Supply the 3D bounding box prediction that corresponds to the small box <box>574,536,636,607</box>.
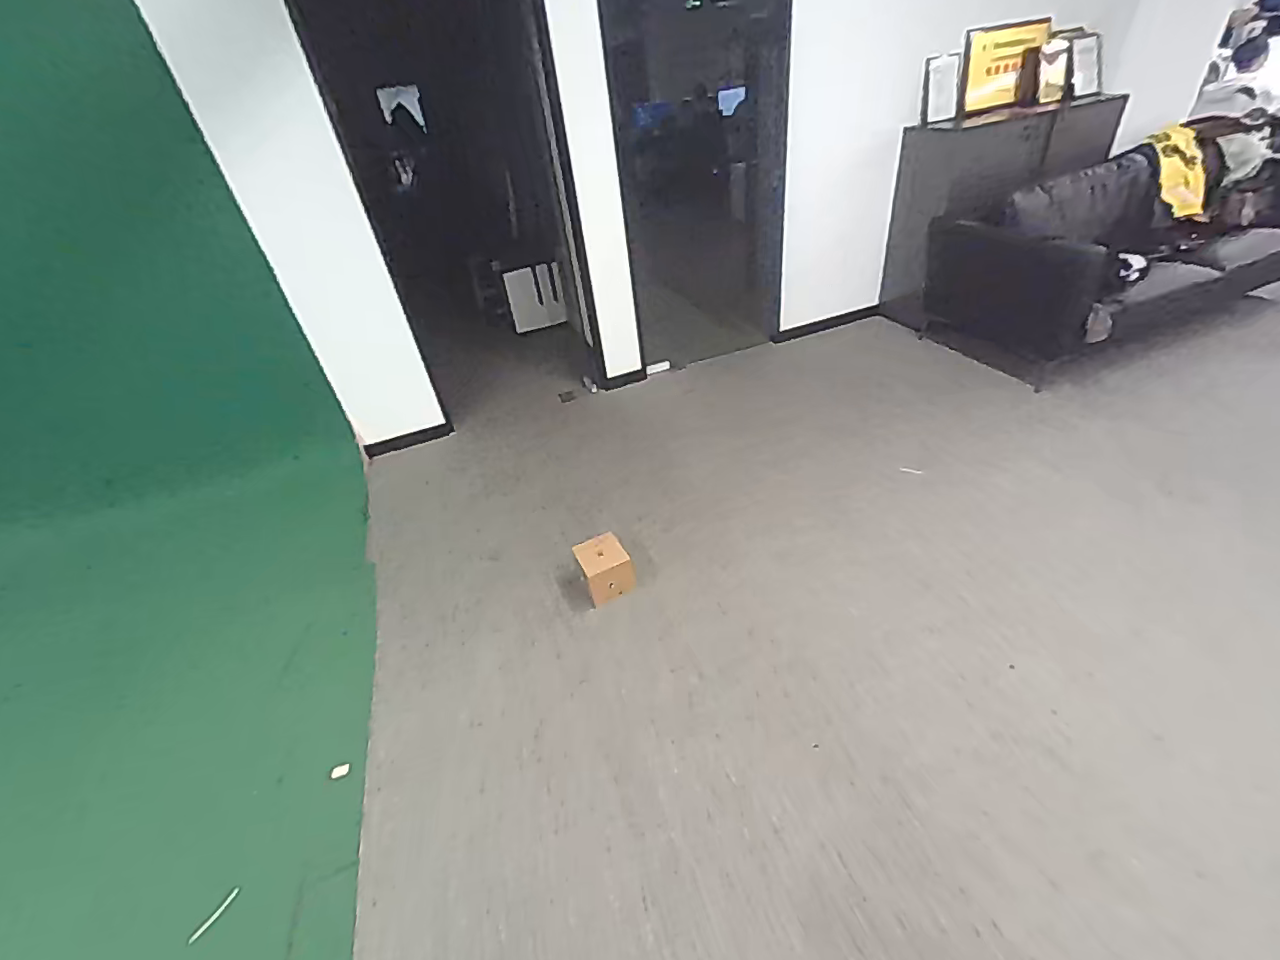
[{"bbox_3d":[-0.126,0.344,2.003,0.168,0.176,0.179,-21,39,-17],"label":"small box"}]
